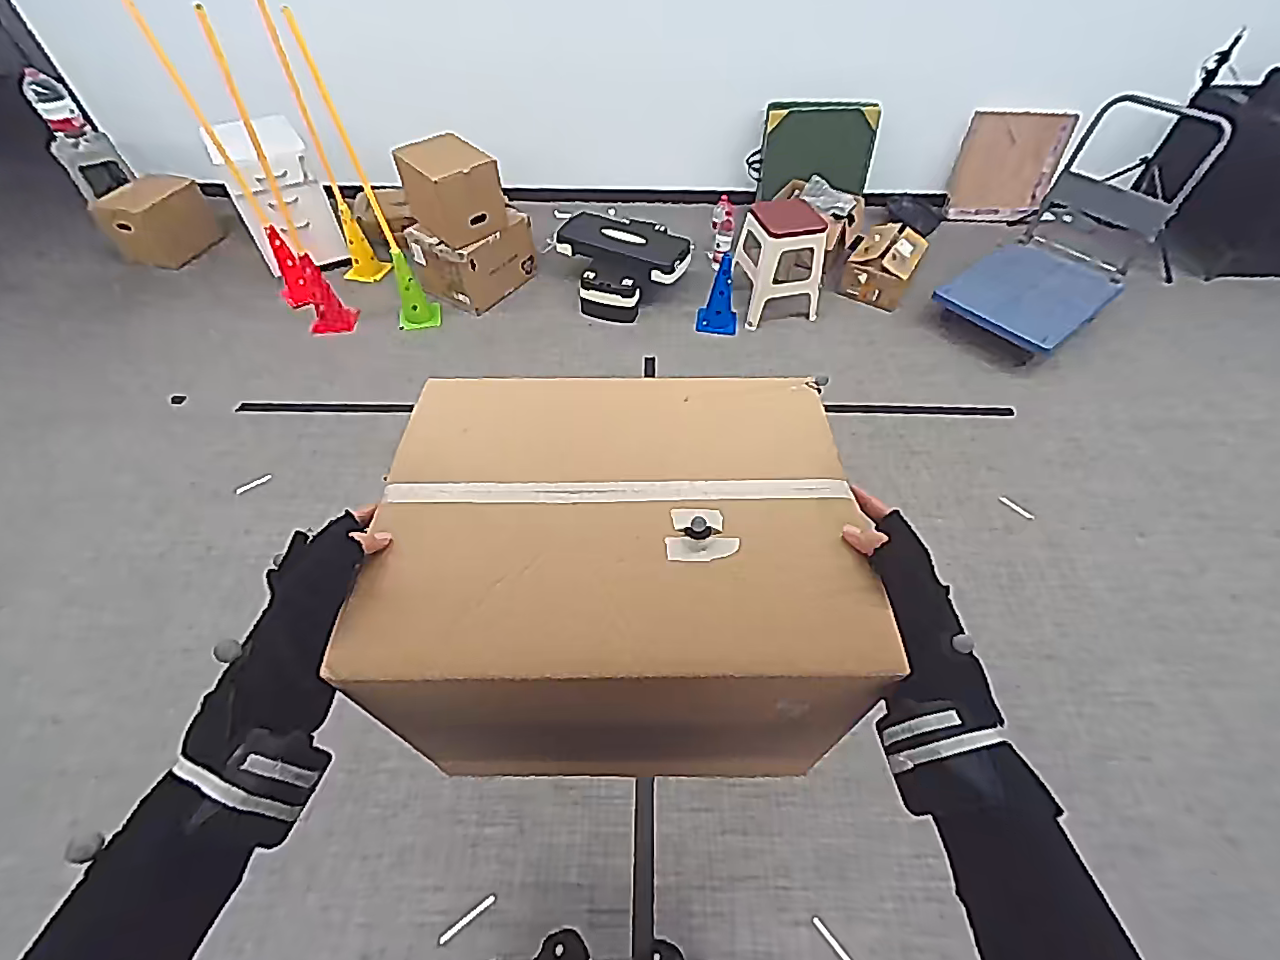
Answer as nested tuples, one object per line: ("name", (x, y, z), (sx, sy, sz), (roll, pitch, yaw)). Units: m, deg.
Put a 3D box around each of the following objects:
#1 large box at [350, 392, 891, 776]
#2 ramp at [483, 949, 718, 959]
("large box", (-0.017, 0.119, 0.599), (0.408, 0.320, 0.320), (0, 50, 0))
("ramp", (-0.079, 1.412, 0.878), (0.509, 0.206, 0.991), (0, 52, -2))
